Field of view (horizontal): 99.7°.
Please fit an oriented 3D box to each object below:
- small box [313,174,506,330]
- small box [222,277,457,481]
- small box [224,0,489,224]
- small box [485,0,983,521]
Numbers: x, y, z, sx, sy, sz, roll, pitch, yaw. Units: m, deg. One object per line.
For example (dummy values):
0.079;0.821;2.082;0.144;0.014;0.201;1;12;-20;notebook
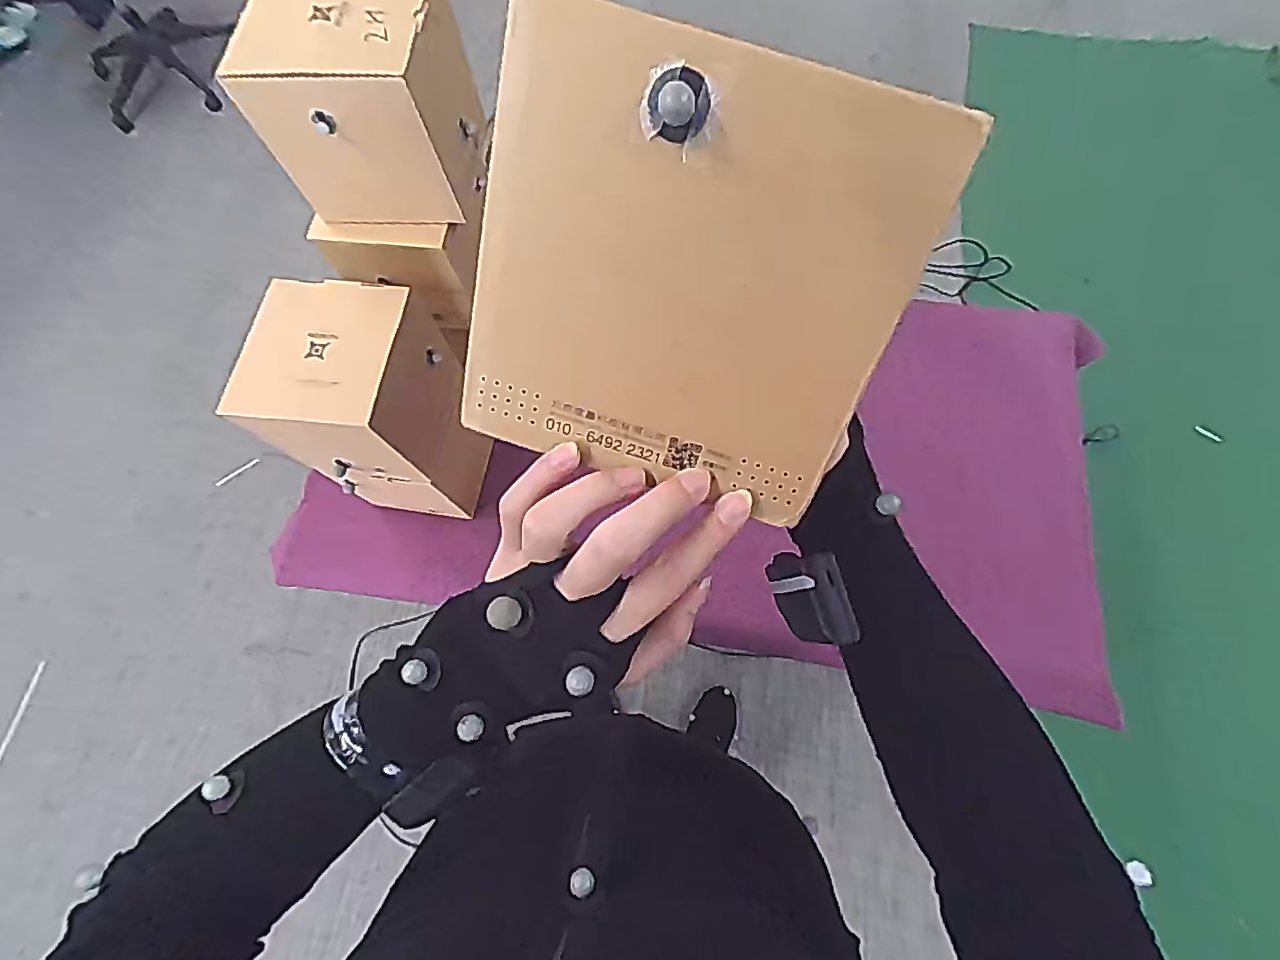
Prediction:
-0.292;-0.325;0.731;0.168;0.176;0.179;5;70;4;small box
-0.340;-0.114;0.656;0.168;0.176;0.179;6;71;4;small box
-0.282;-0.402;0.583;0.179;0.176;0.168;2;71;2;small box
0.030;-0.106;0.293;0.168;0.179;0.176;18;117;2;small box
